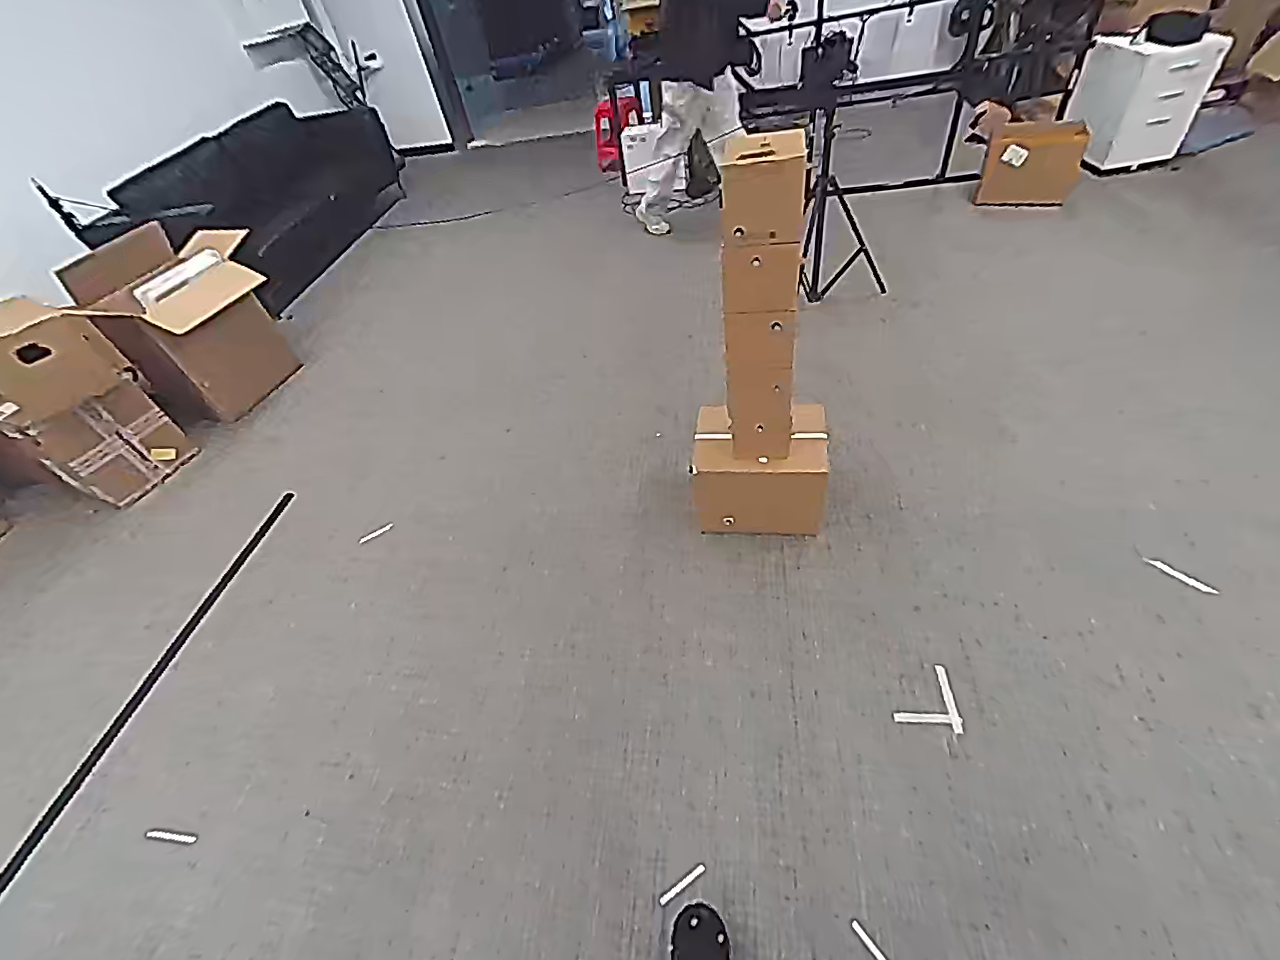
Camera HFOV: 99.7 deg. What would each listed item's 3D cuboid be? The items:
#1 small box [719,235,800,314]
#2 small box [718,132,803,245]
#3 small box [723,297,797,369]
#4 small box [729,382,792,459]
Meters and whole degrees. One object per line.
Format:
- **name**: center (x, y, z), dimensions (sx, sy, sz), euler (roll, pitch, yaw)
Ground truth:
- **small box**: center (0.287, -0.512, 1.293), dimensions (0.179, 0.176, 0.168), euler (2, 49, 14)
- **small box**: center (0.265, -0.624, 1.174), dimensions (0.168, 0.176, 0.179), euler (2, 48, 14)
- **small box**: center (0.311, -0.402, 1.409), dimensions (0.179, 0.176, 0.168), euler (2, 48, 13)
- **small box**: center (0.363, -0.177, 1.643), dimensions (0.179, 0.176, 0.168), euler (0, 48, 10)
